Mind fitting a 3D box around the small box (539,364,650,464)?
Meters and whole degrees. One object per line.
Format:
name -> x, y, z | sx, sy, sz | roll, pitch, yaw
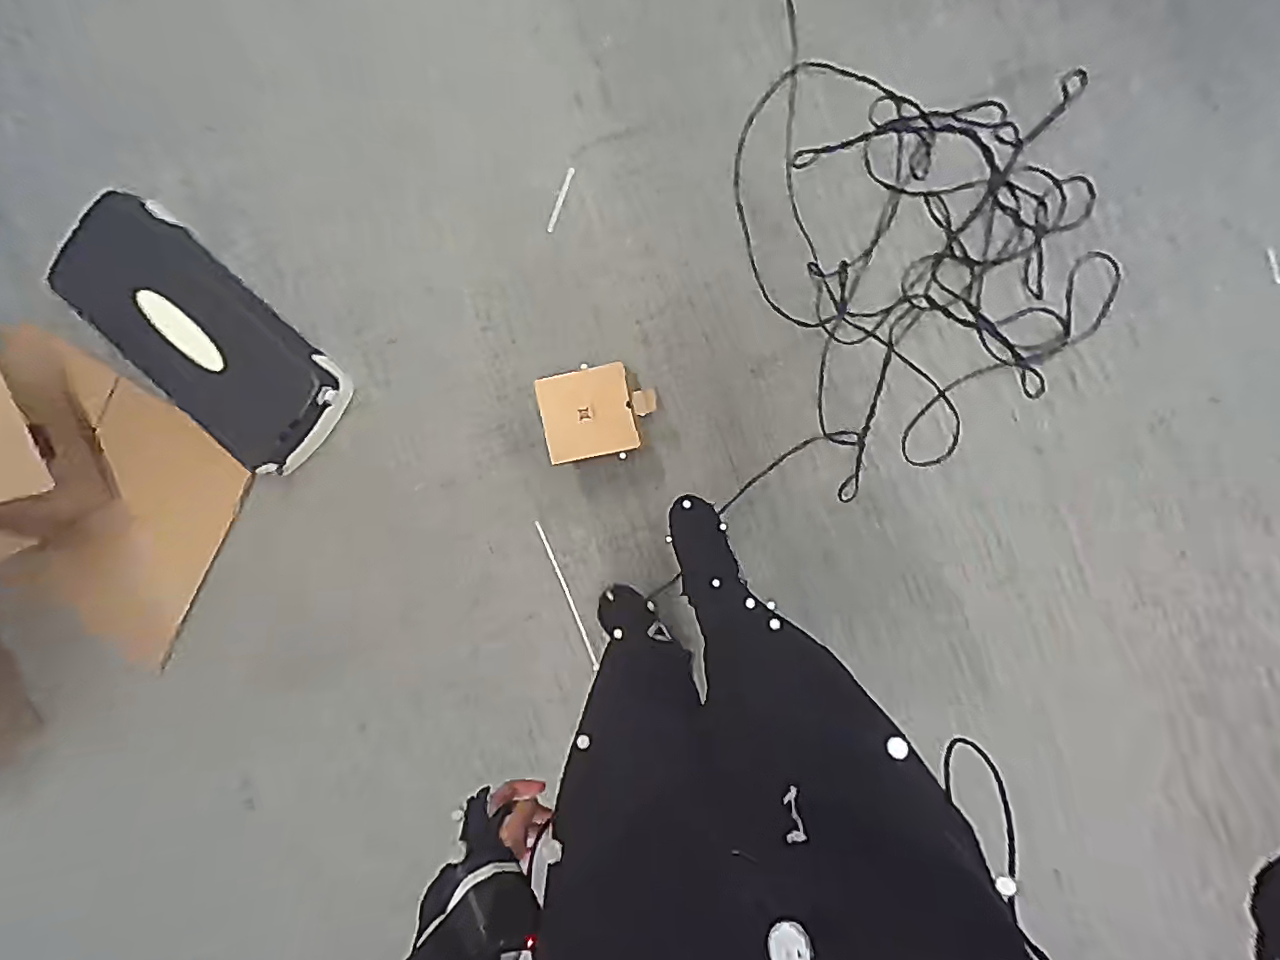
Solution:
small box -> -0.085, -0.126, 1.095 | 0.179, 0.176, 0.168 | -11, 92, 6
